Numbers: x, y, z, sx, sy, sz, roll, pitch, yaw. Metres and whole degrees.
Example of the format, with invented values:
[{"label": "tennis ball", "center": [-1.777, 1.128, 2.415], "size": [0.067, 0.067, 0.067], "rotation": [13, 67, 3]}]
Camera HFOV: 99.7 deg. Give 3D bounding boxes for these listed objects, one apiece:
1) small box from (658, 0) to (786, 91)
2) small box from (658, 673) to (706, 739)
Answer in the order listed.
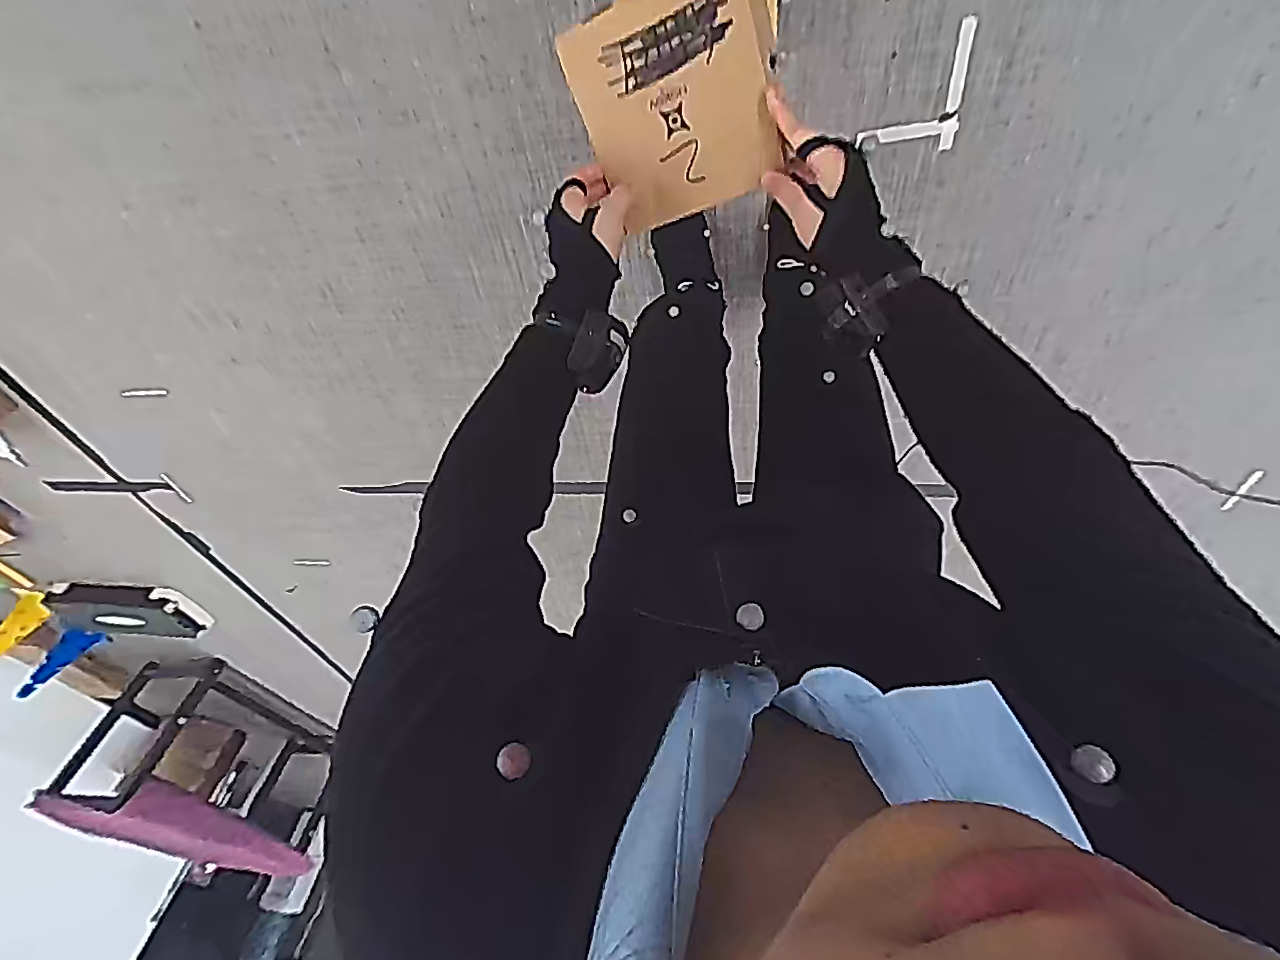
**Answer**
[{"label": "small box", "center": [0.112, -0.675, 0.754], "size": [0.168, 0.176, 0.179], "rotation": [-2, 135, 11]}, {"label": "small box", "center": [0.158, 0.829, 1.984], "size": [0.168, 0.176, 0.179], "rotation": [0, 135, 7]}]
